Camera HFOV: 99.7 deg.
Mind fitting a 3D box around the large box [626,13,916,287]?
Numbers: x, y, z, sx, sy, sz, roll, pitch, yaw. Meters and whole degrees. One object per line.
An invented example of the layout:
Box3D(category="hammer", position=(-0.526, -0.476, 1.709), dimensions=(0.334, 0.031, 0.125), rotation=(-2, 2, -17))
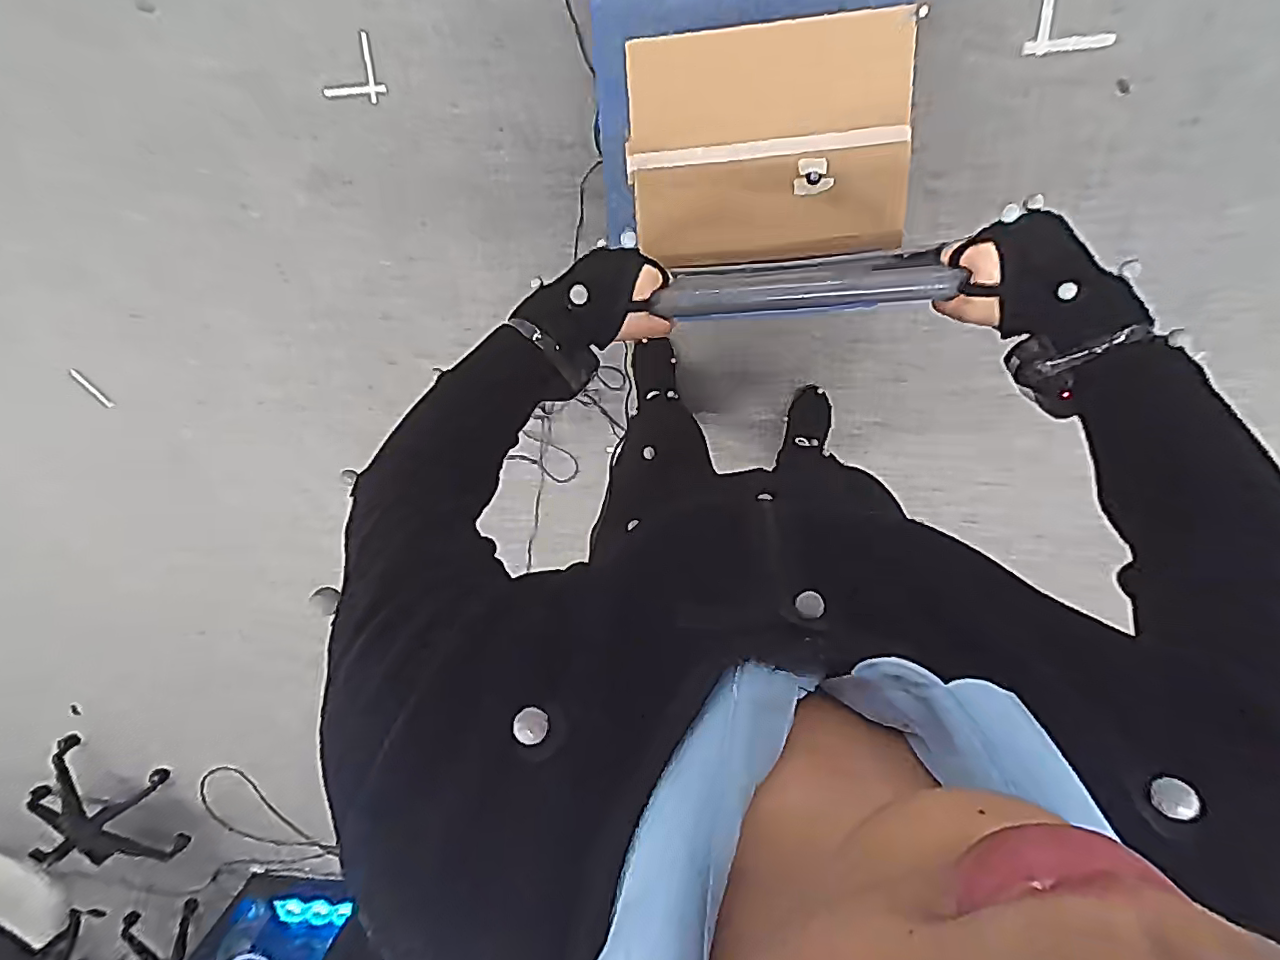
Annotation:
Box3D(category="large box", position=(0.198, -0.519, 0.933), dimensions=(0.408, 0.320, 0.320), rotation=(-2, 108, 6))
